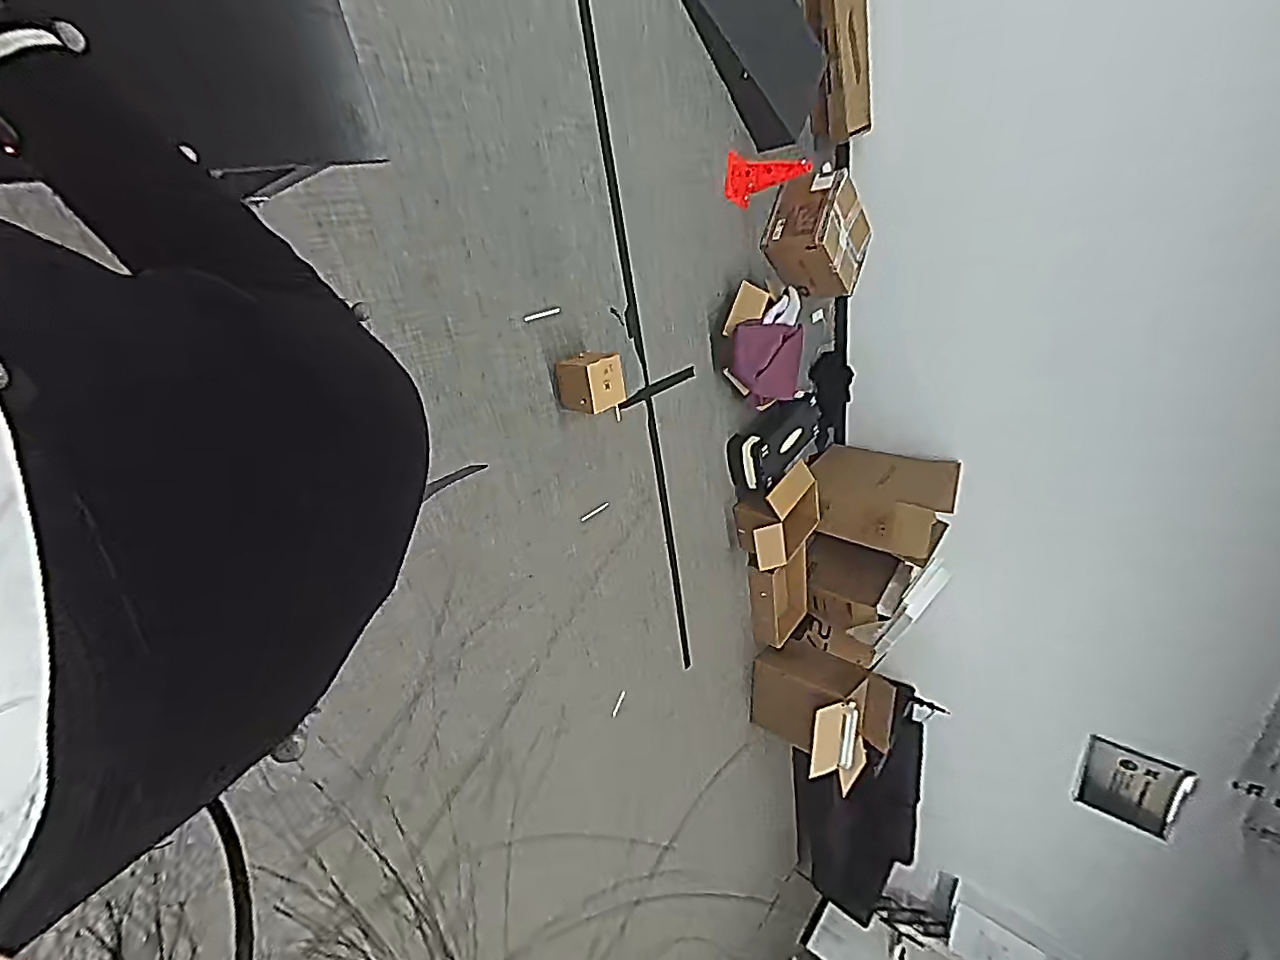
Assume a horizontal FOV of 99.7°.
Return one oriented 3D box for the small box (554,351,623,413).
[{"bbox_3d":[-0.185,-0.357,1.941,0.168,0.176,0.179,-31,123,-40],"label":"small box"}]
